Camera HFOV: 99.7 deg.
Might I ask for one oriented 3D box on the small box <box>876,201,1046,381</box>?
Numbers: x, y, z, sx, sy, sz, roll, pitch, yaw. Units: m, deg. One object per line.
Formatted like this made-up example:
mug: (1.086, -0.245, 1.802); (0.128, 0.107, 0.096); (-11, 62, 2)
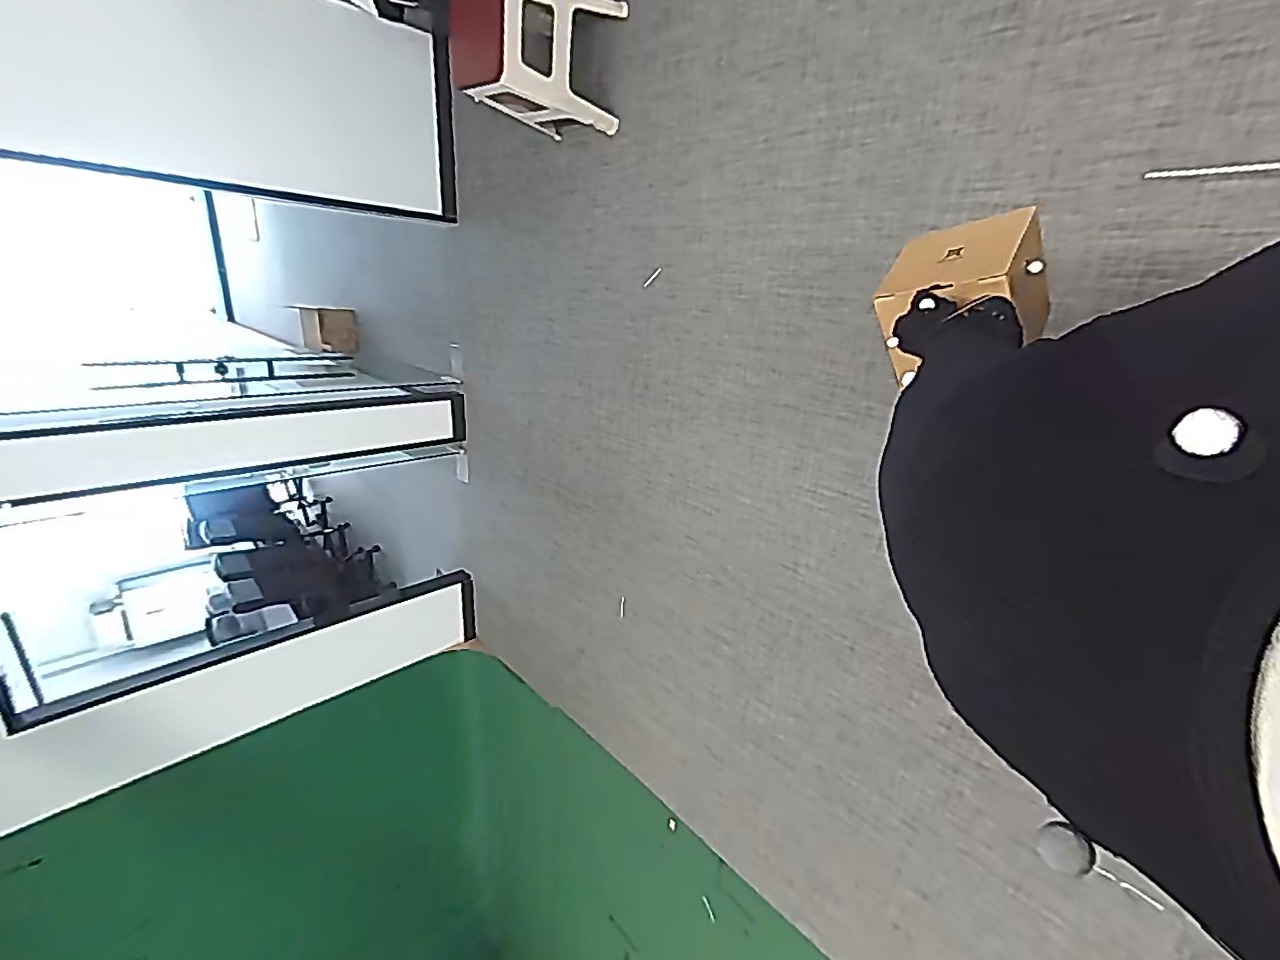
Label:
small box: (0.478, -0.268, 0.797); (0.168, 0.179, 0.176); (5, 140, 48)
